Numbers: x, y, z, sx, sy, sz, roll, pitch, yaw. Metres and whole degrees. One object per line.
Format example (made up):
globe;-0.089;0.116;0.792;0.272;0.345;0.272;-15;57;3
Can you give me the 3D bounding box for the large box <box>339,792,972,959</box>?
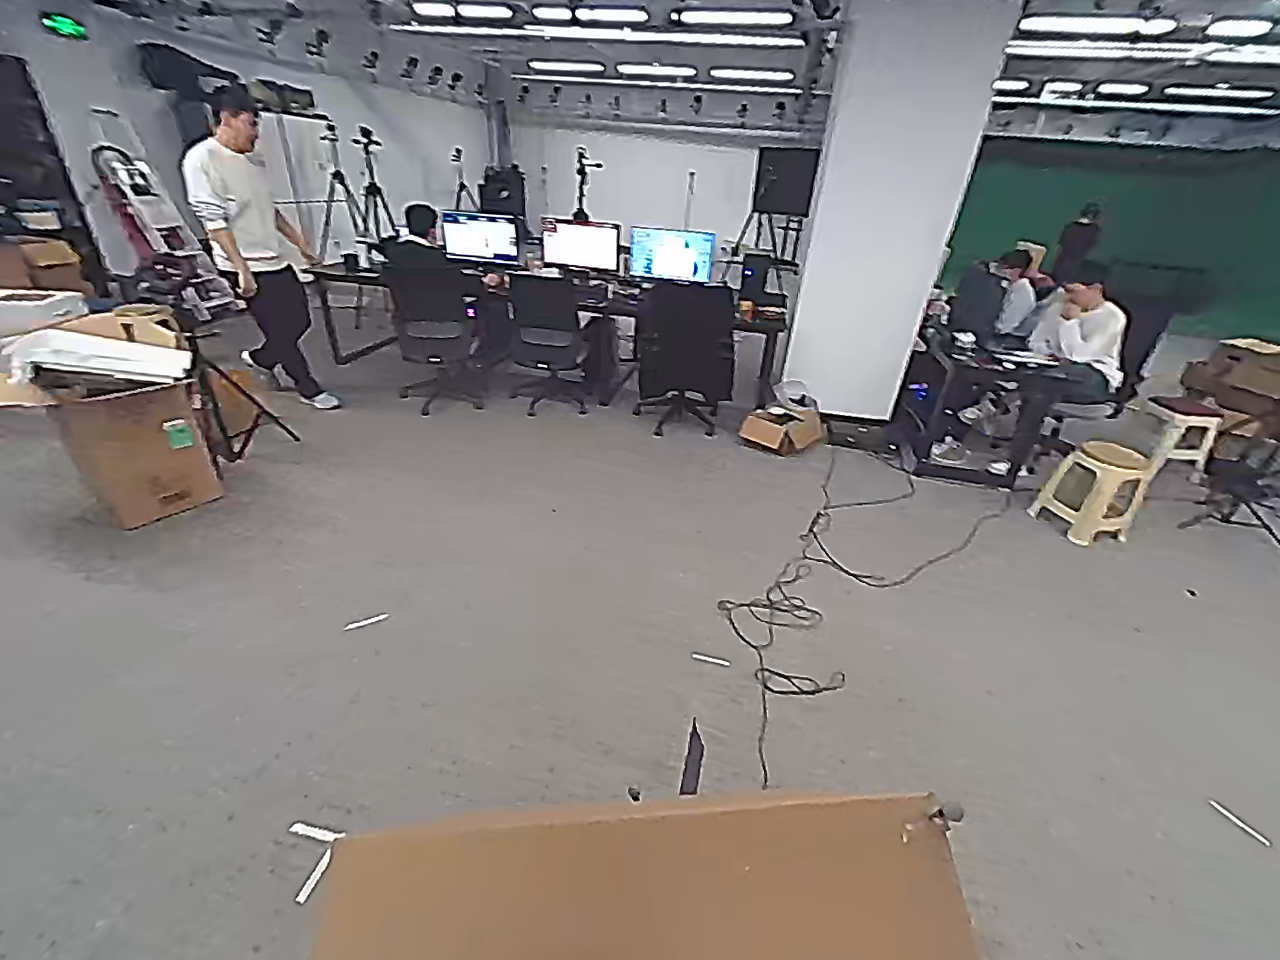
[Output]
large box;0.010;0.442;0.430;0.408;0.320;0.320;-2;62;-5
